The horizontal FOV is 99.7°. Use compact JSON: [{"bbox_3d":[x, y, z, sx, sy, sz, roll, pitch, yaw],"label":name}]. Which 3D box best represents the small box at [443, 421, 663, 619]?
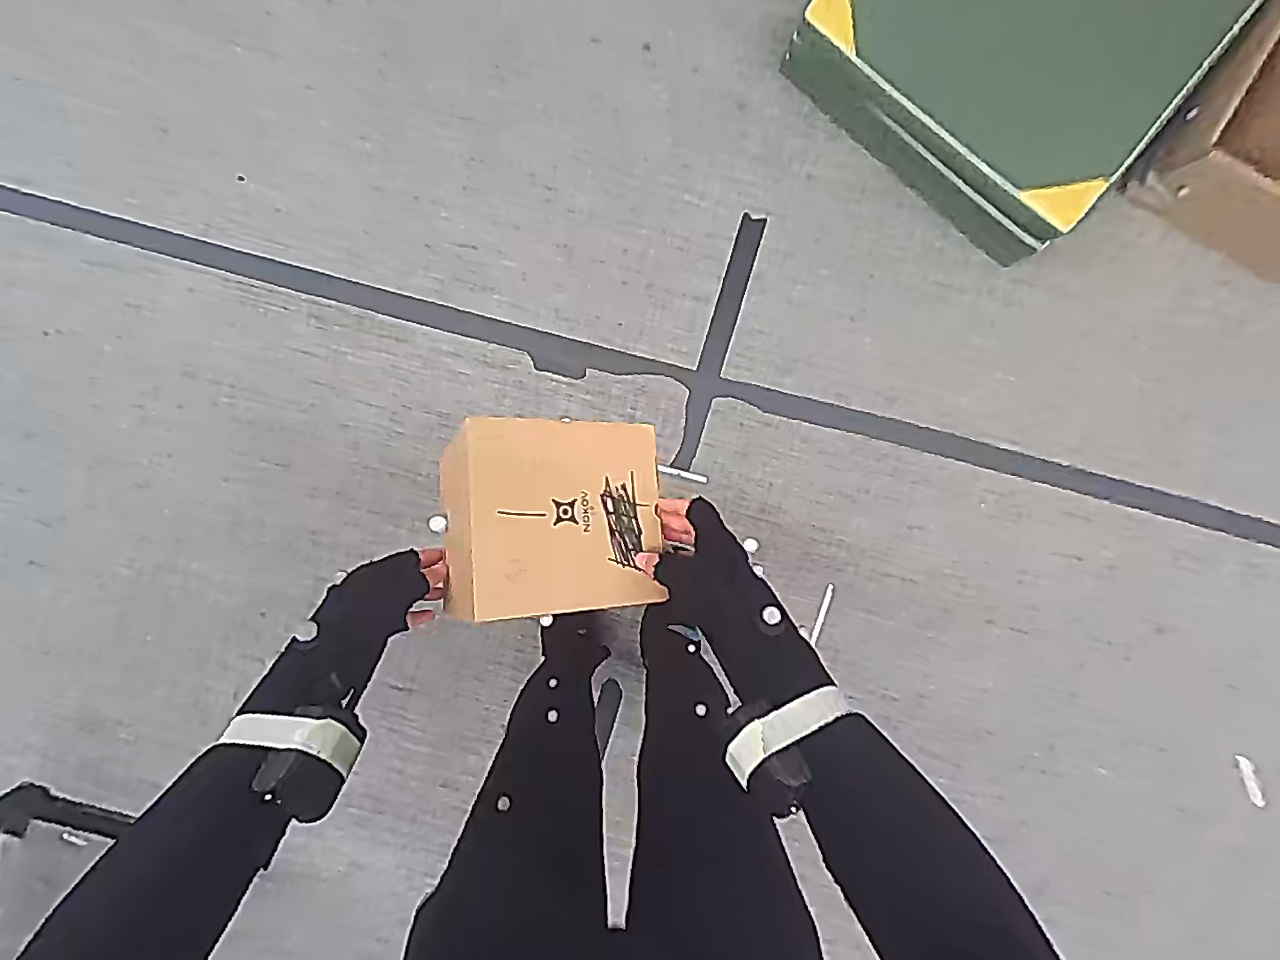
[{"bbox_3d":[-0.096,0.043,0.549,0.179,0.176,0.168,-1,81,-27],"label":"small box"}]
